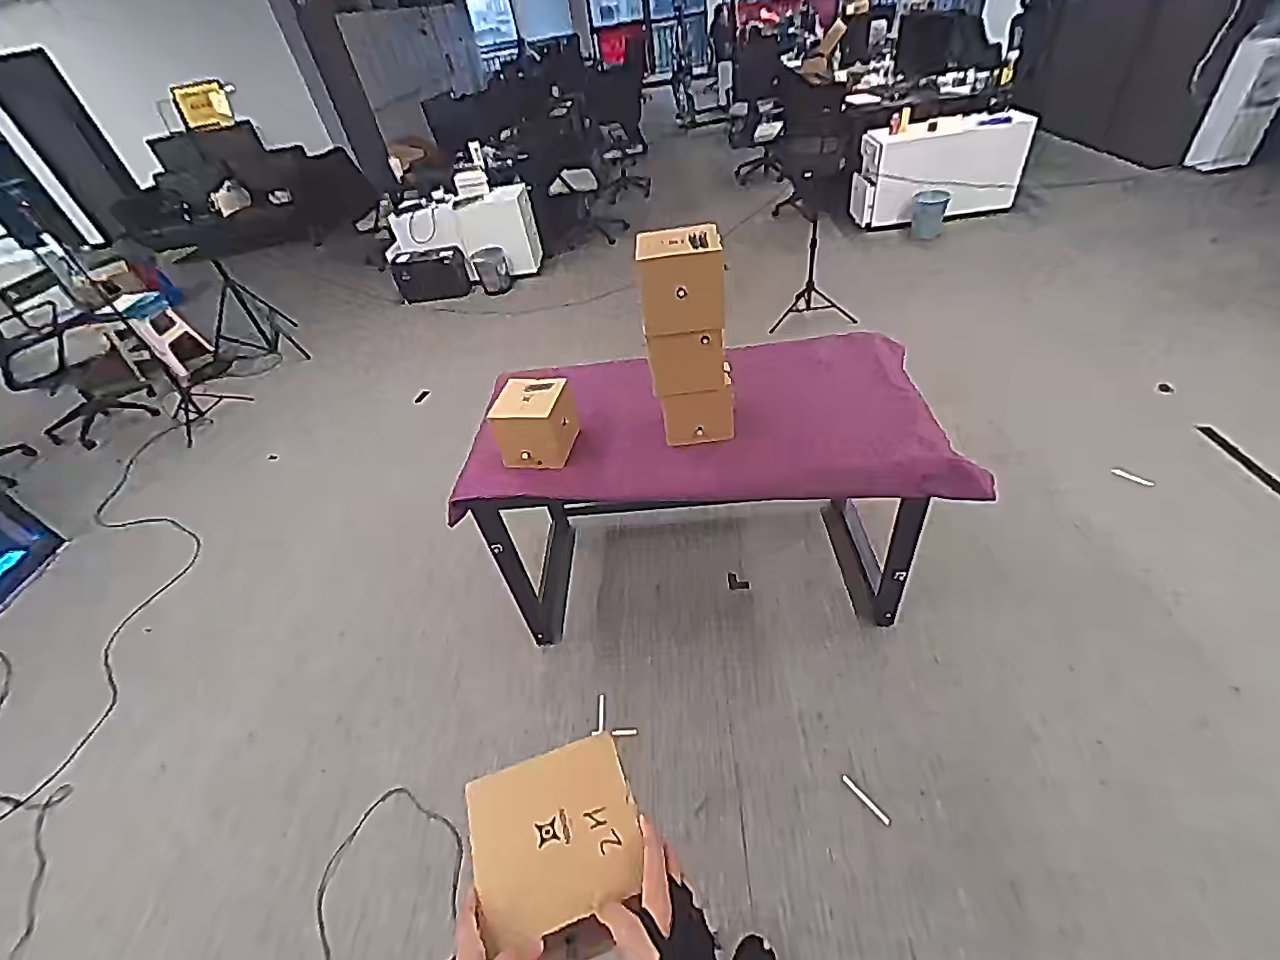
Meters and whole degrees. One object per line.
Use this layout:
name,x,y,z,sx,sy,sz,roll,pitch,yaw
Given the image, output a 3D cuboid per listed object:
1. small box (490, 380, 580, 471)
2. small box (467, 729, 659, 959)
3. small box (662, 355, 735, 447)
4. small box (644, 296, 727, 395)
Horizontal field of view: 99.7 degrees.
small box,-0.266,-0.145,1.422,0.168,0.176,0.179,1,43,13
small box,-0.084,0.427,0.619,0.179,0.176,0.168,-14,42,-13
small box,0.149,-0.205,1.404,0.179,0.176,0.168,-6,40,4
small box,0.108,-0.317,1.291,0.179,0.176,0.168,-6,41,4
